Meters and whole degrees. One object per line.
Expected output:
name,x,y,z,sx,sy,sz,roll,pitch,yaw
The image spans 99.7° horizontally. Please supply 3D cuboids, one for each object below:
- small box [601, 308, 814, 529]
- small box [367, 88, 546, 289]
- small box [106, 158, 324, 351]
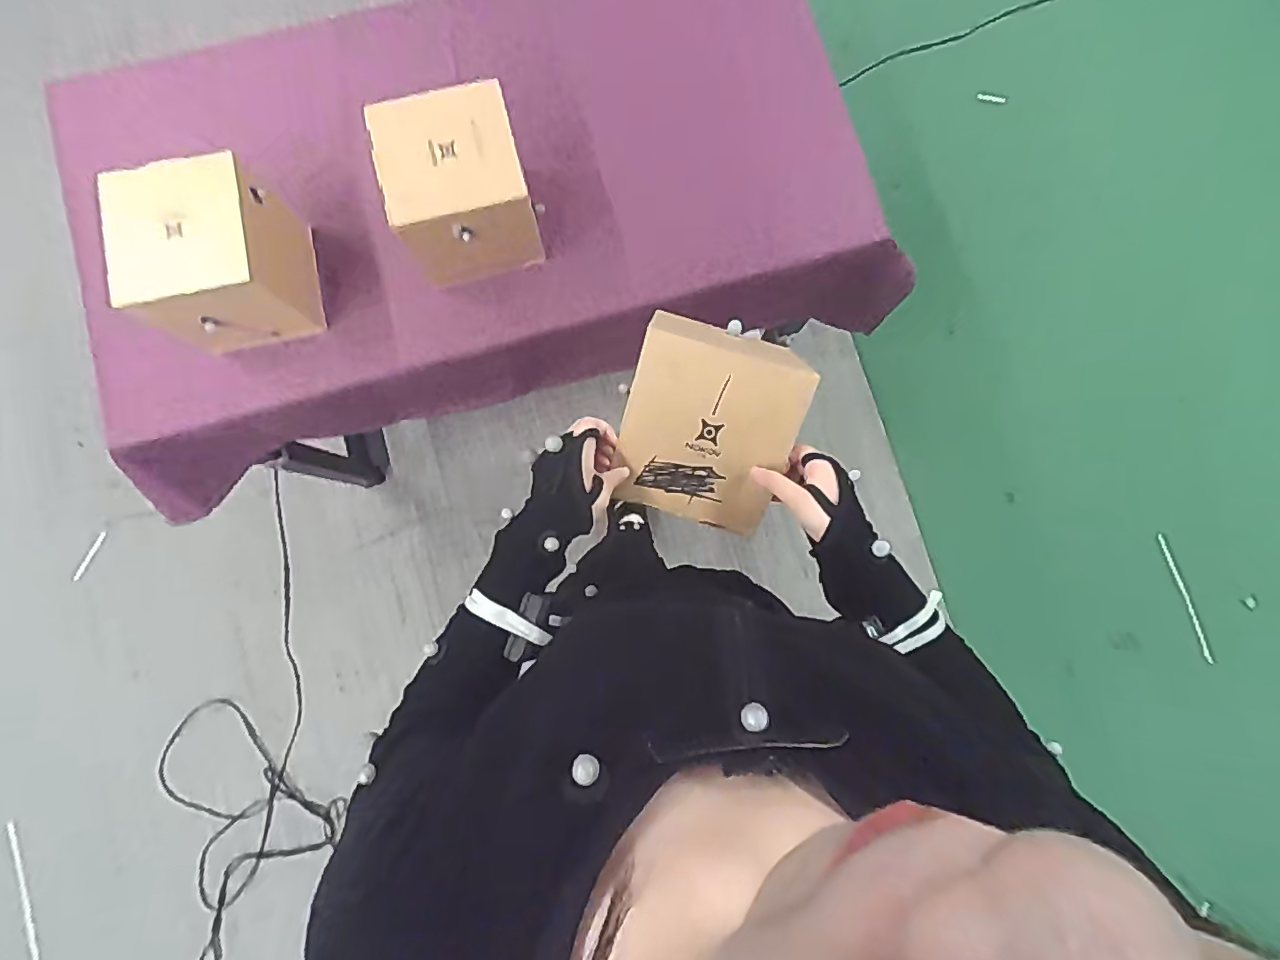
small box,0.066,-0.077,0.593,0.168,0.176,0.179,15,112,-2
small box,-0.243,-0.391,0.754,0.179,0.176,0.168,-14,83,-3
small box,-0.562,-0.290,0.738,0.168,0.176,0.179,-12,82,-2
